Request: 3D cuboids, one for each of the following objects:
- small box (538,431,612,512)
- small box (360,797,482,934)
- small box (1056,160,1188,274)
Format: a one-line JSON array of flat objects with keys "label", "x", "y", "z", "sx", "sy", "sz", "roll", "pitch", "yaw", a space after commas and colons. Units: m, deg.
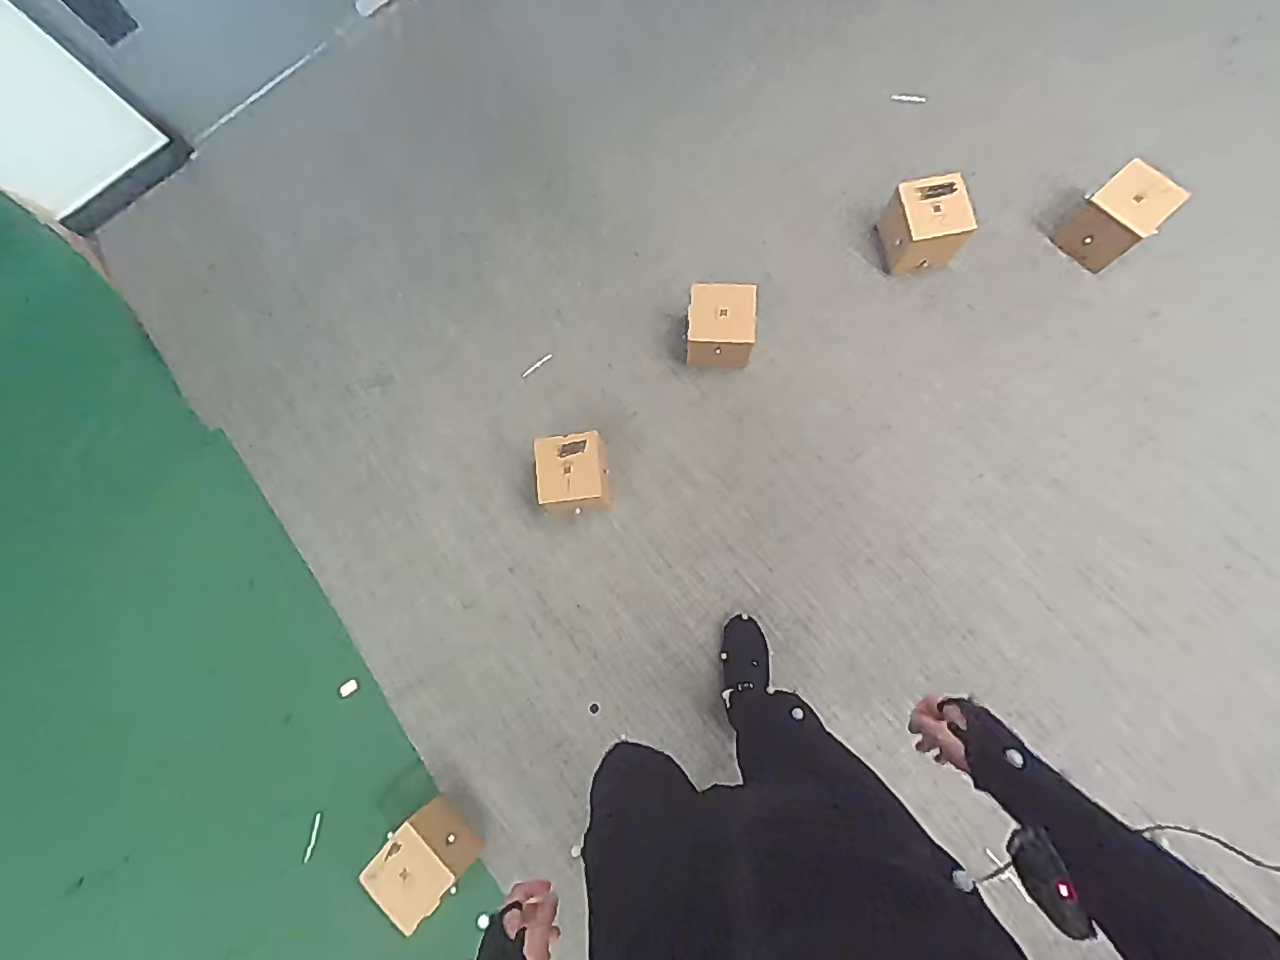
[{"label": "small box", "x": -0.171, "y": -0.017, "z": 1.452, "sx": 0.168, "sy": 0.176, "sz": 0.179, "roll": -7, "pitch": 78, "yaw": 4}, {"label": "small box", "x": -0.513, "y": 0.908, "z": 1.296, "sx": 0.179, "sy": 0.176, "sz": 0.168, "roll": 40, "pitch": 85, "yaw": 11}, {"label": "small box", "x": 1.273, "y": -0.695, "z": 1.449, "sx": 0.179, "sy": 0.176, "sz": 0.168, "roll": -42, "pitch": 78, "yaw": -4}]
